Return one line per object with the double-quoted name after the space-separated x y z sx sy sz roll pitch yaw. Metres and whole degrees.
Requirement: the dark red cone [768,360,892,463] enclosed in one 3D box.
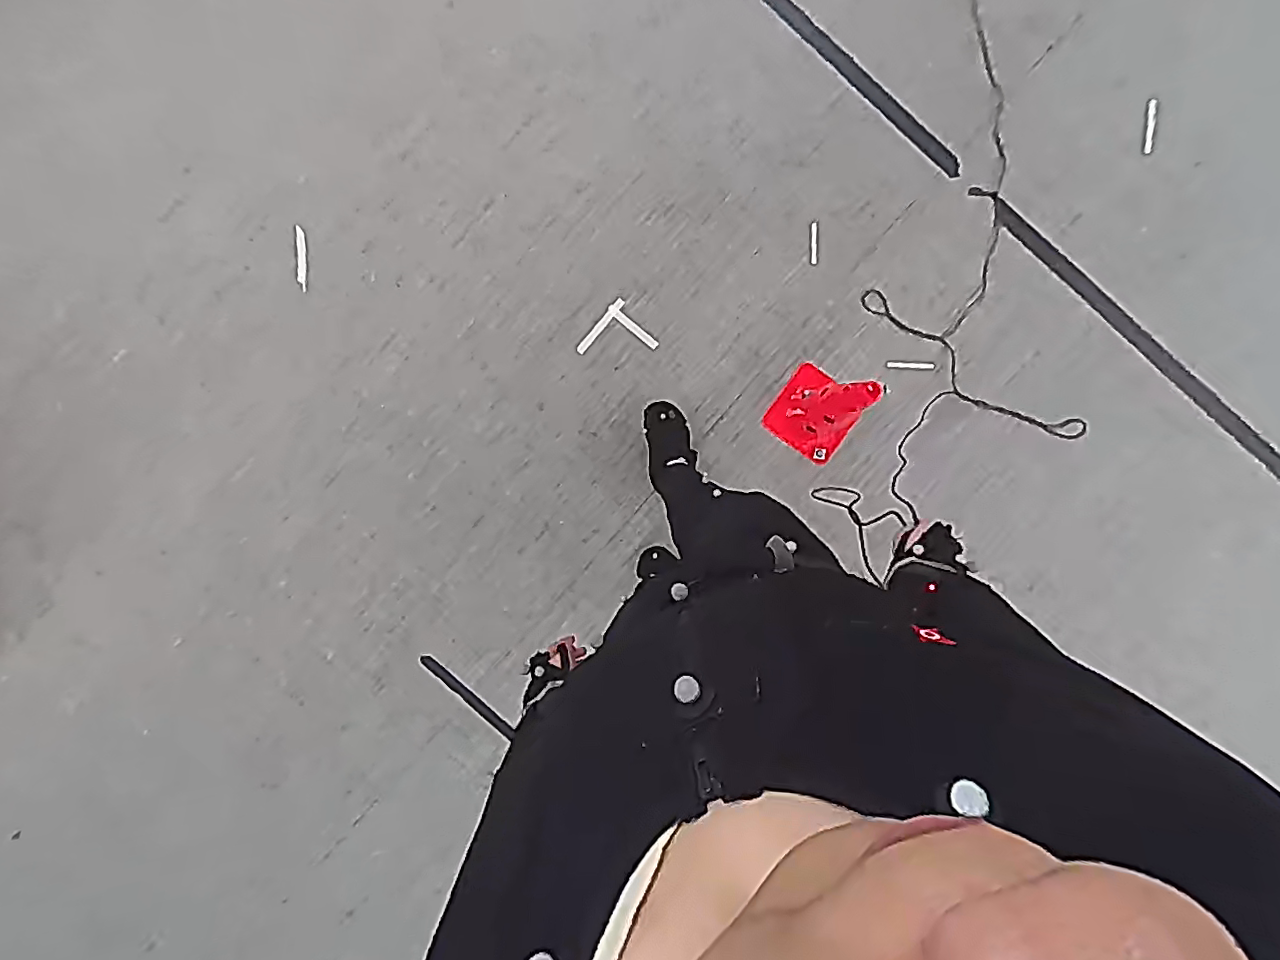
0.437 -0.172 1.165 0.202 0.394 0.201 35 89 1 "dark red cone"
